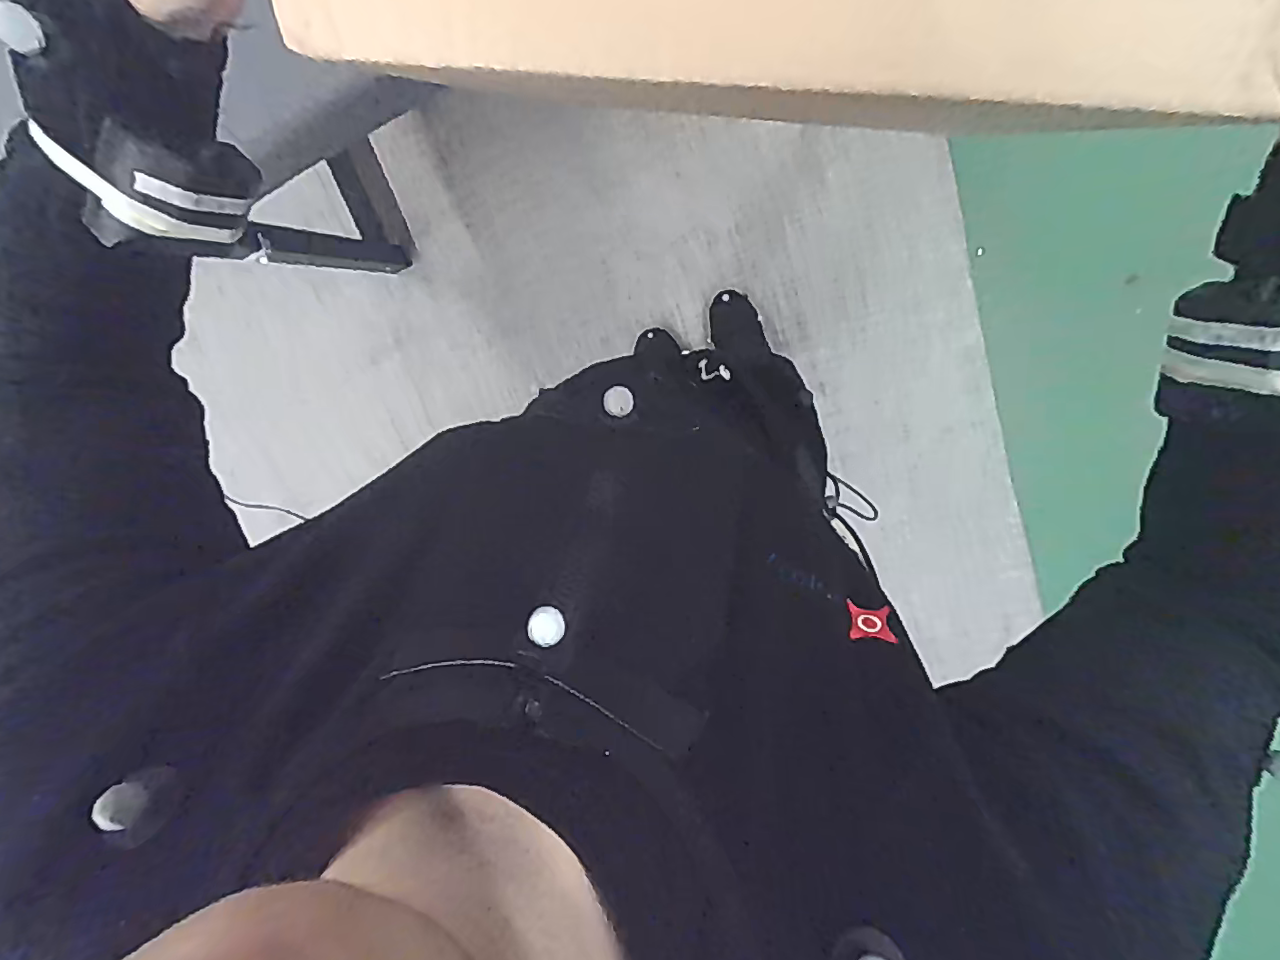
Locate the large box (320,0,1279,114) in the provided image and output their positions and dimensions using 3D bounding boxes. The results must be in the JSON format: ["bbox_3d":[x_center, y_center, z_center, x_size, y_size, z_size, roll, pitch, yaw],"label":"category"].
[{"bbox_3d":[0.088,-0.377,0.259,0.408,0.320,0.320,8,123,6],"label":"large box"}]
